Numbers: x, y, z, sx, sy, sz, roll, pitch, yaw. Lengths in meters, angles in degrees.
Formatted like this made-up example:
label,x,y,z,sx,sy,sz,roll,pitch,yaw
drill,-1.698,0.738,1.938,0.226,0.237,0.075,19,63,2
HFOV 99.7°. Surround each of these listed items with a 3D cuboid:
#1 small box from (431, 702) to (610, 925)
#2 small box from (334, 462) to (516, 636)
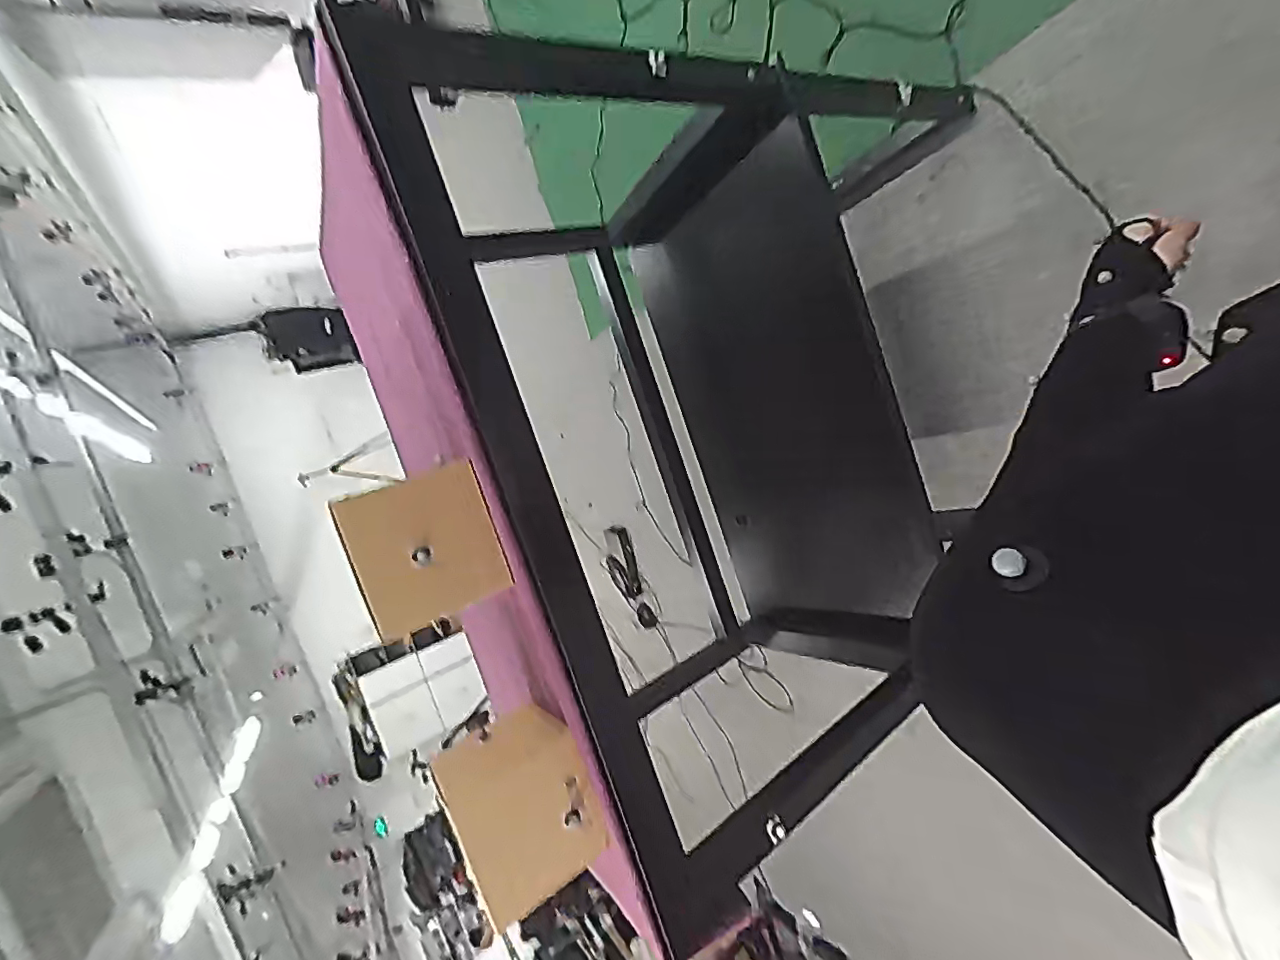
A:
label,x,y,z,sx,sy,sz,roll,pitch,yaw
small box,-0.164,0.428,0.736,0.179,0.176,0.168,-17,94,60
small box,-0.290,0.081,0.727,0.168,0.176,0.179,-10,100,60
